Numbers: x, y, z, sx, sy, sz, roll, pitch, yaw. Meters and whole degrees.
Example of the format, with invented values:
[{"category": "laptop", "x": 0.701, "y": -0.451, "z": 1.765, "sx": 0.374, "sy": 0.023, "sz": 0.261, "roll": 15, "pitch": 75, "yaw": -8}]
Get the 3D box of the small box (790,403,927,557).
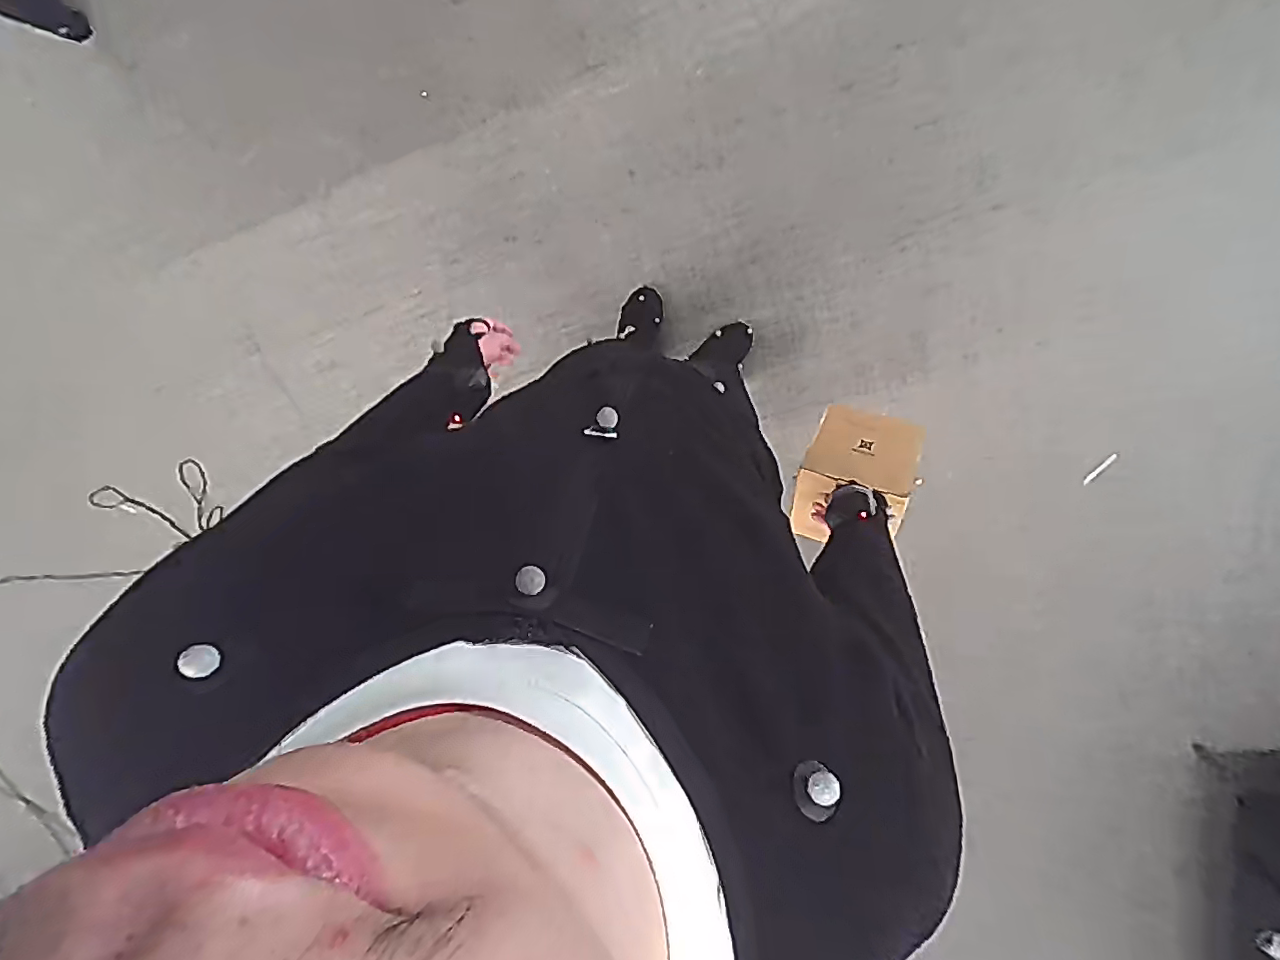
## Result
[{"category": "small box", "x": 0.362, "y": 0.001, "z": 0.917, "sx": 0.168, "sy": 0.179, "sz": 0.176, "roll": 19, "pitch": 142, "yaw": 21}]
